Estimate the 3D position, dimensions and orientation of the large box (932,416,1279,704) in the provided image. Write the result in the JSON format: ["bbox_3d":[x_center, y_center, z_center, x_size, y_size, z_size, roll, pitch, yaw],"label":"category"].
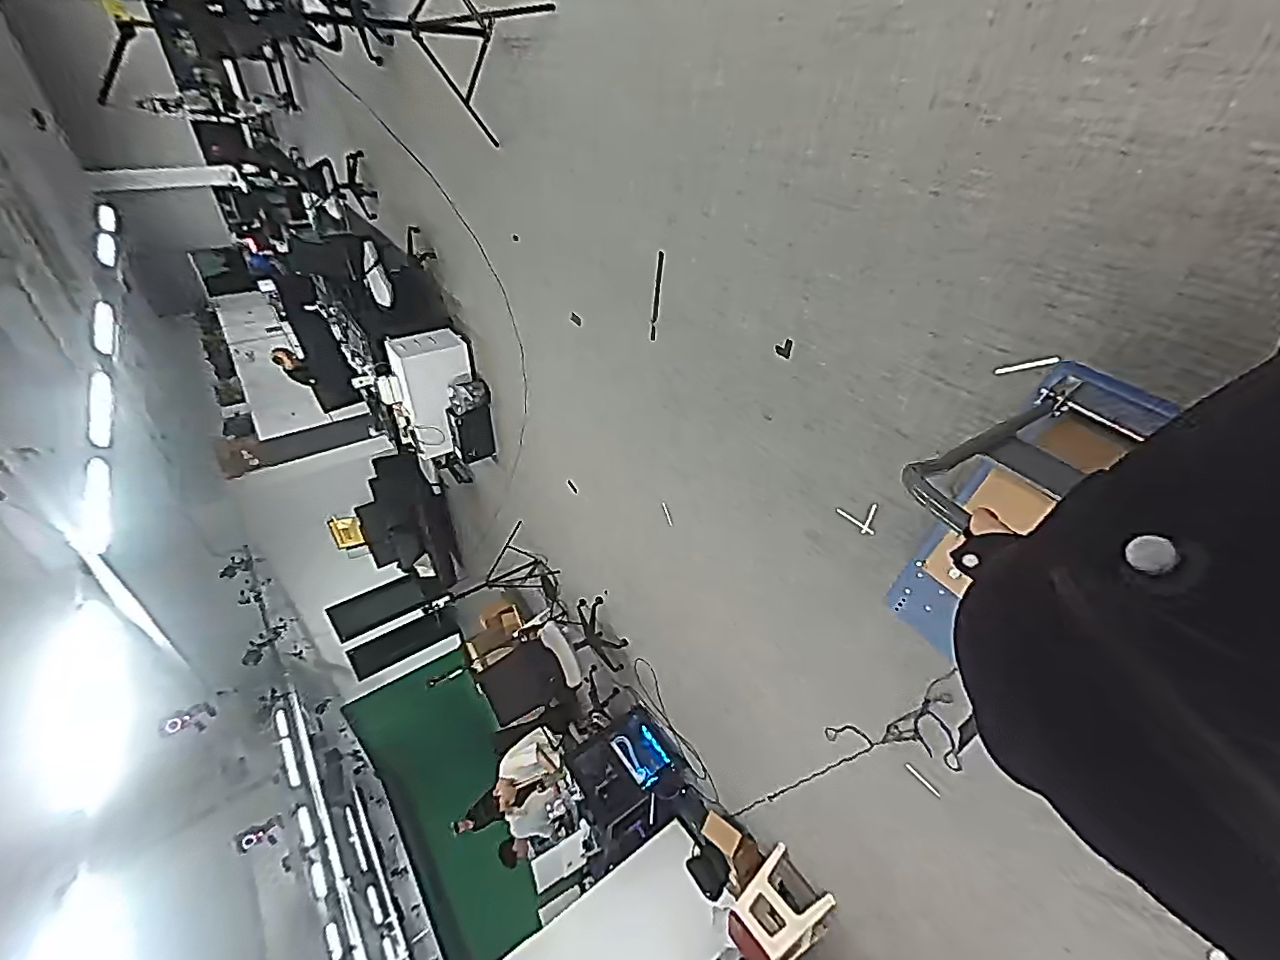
[{"bbox_3d":[0.899,0.136,1.063,0.408,0.320,0.320,46,144,34],"label":"large box"}]
